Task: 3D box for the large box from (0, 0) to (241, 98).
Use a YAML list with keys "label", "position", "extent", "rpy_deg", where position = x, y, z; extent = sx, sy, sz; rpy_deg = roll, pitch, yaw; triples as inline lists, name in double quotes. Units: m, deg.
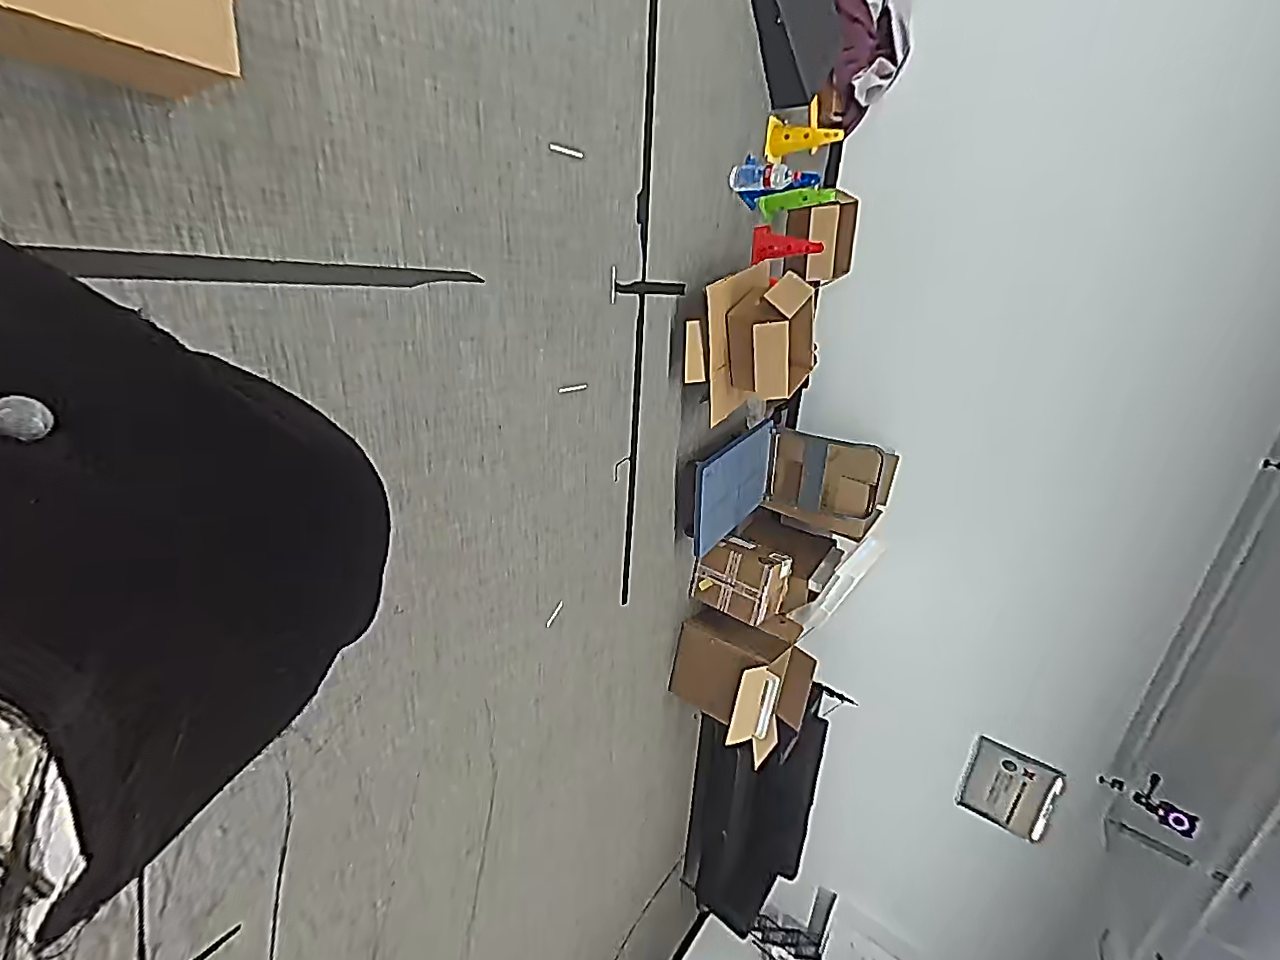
- label: "large box"
  position: [-0.874, -0.790, 0.754]
  extent: [0.408, 0.320, 0.320]
  rpy_deg: [-21, 122, -51]
